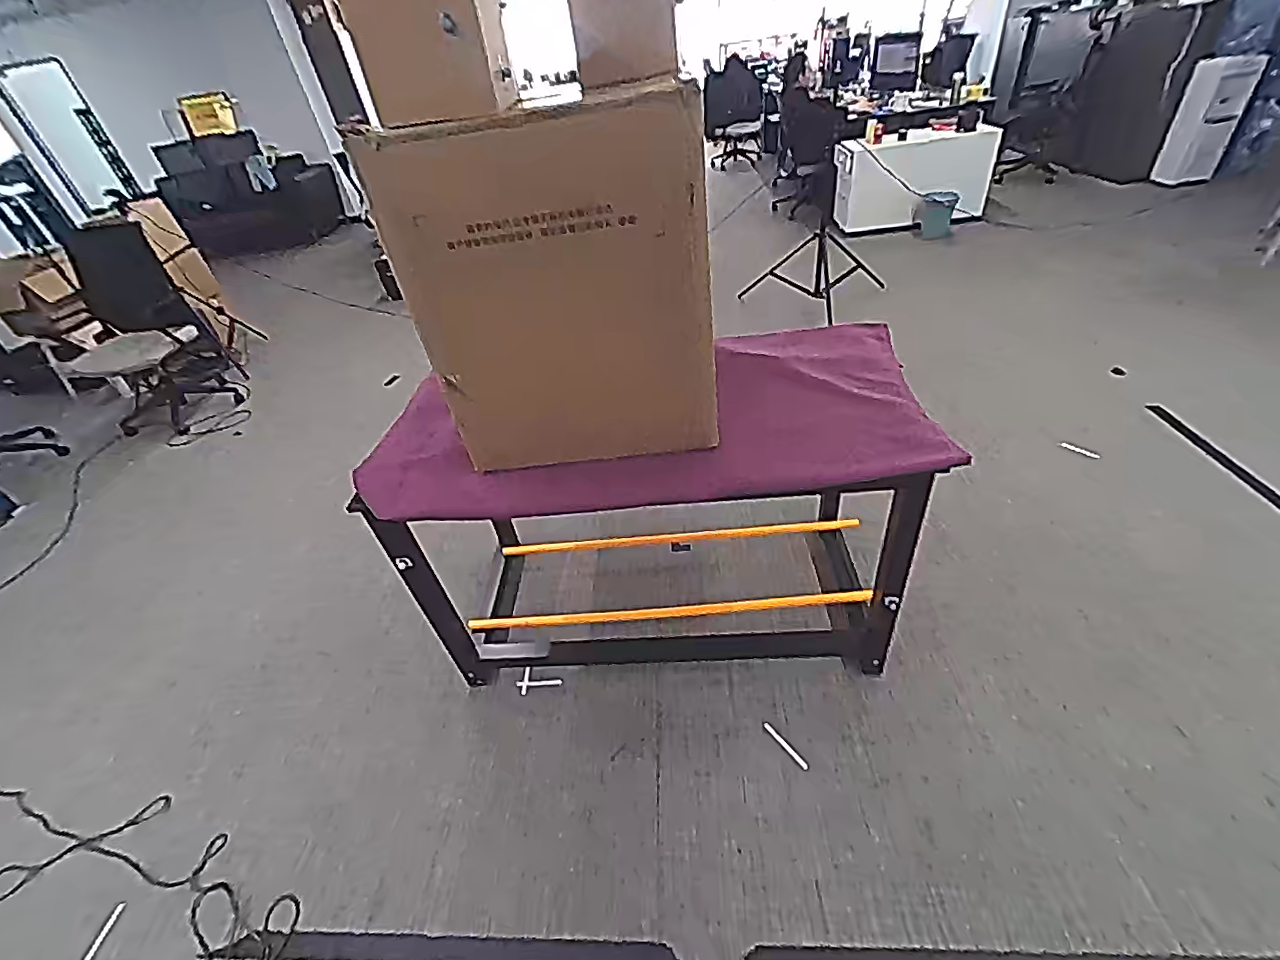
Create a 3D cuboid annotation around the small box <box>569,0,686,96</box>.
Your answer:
[{"bbox_3d":[-0.015,-0.784,0.931,0.179,0.176,0.168,-3,39,10],"label":"small box"}]
